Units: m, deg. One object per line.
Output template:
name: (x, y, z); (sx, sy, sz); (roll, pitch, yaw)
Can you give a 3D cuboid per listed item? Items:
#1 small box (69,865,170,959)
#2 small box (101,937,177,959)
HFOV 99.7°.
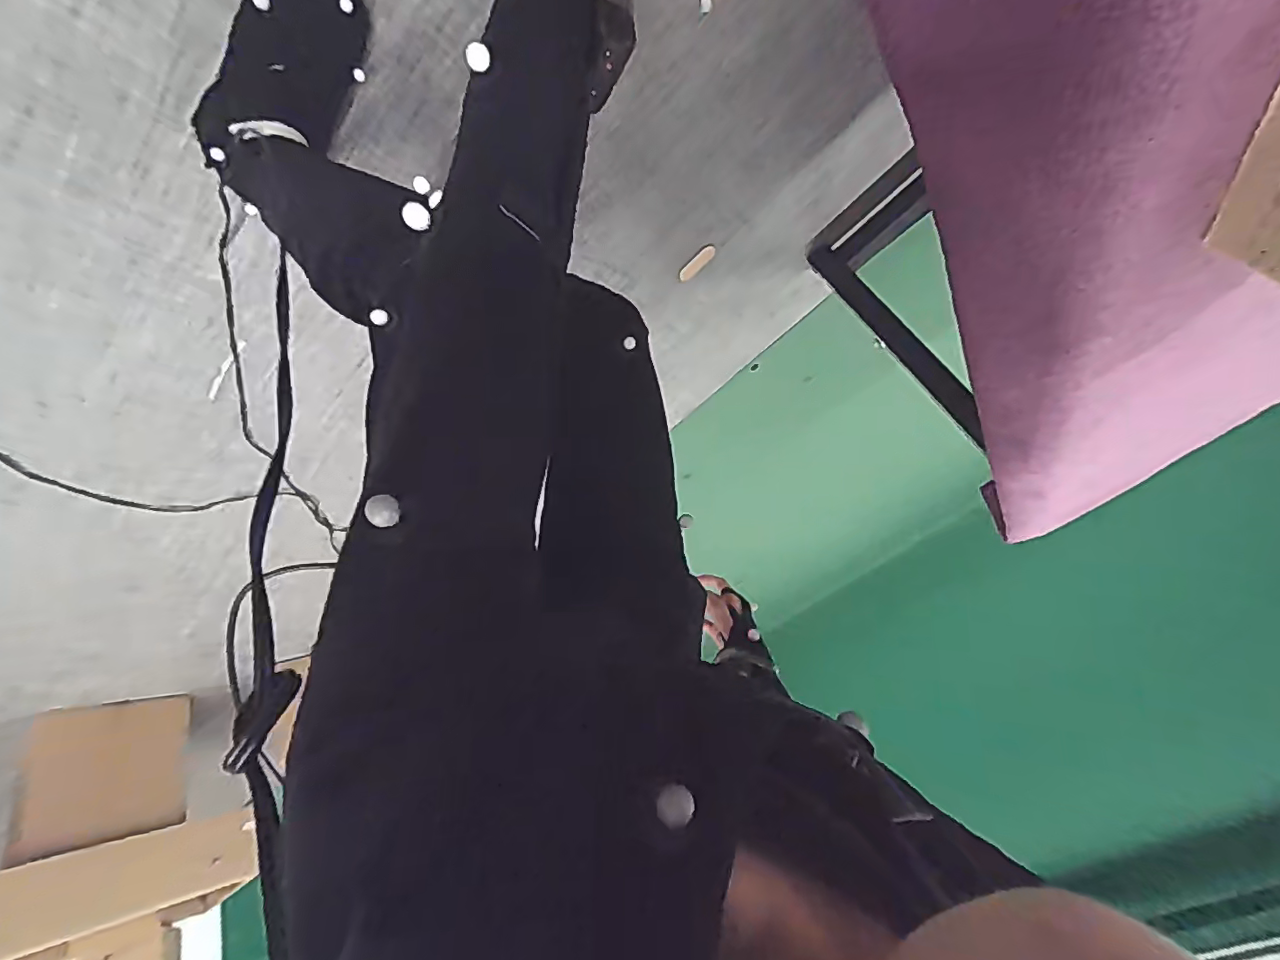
small box: (-1.346, 1.137, 1.405); (0.168, 0.176, 0.179); (-4, 143, -33)
small box: (-1.273, 1.269, 1.337); (0.168, 0.176, 0.179); (-8, 146, -29)
